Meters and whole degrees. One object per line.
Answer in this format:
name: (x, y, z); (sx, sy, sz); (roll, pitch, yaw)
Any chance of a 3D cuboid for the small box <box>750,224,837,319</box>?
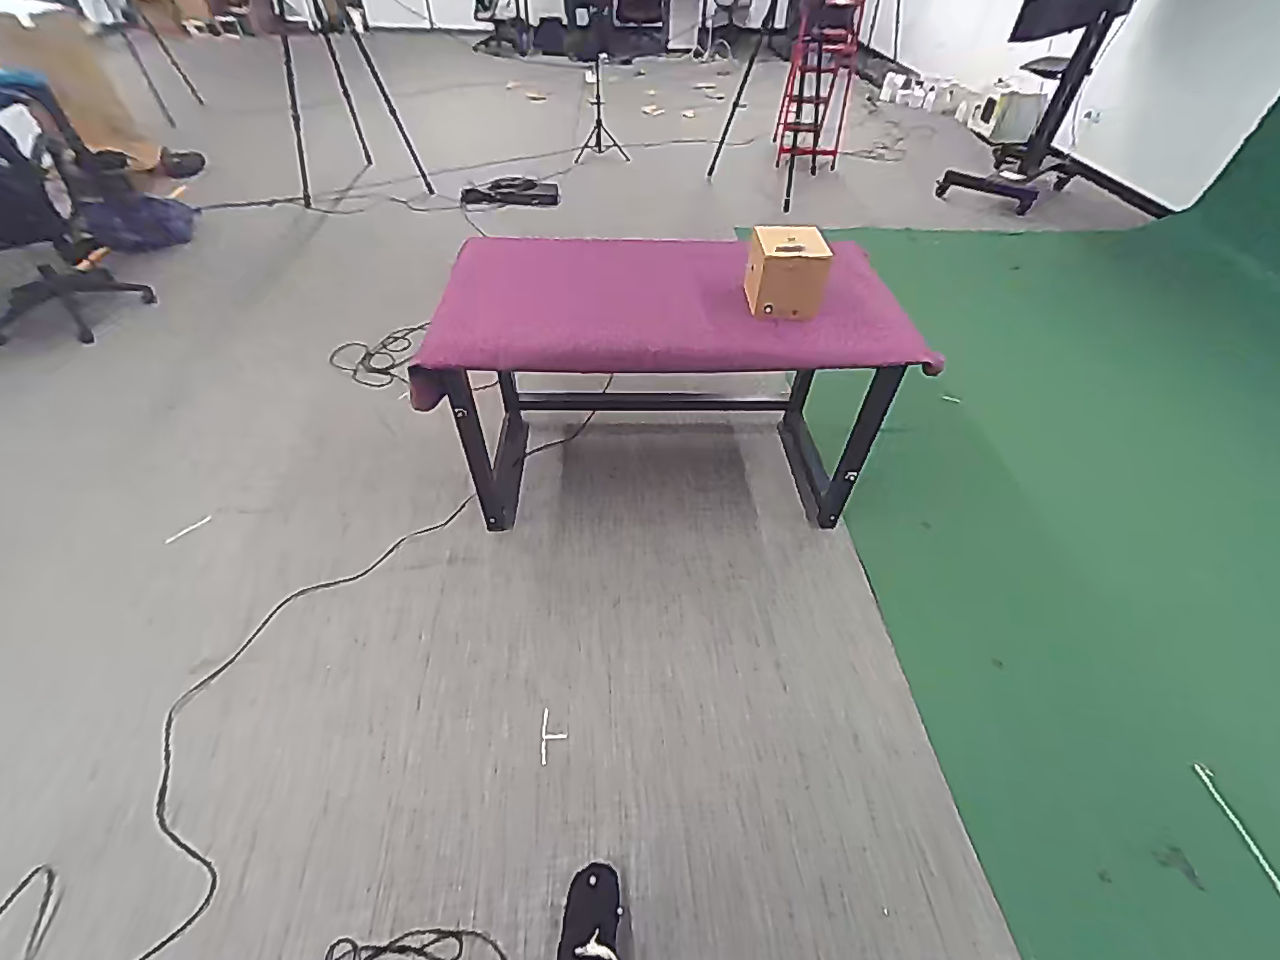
small box: (0.384, -0.530, 1.383); (0.168, 0.176, 0.179); (4, 48, -1)
